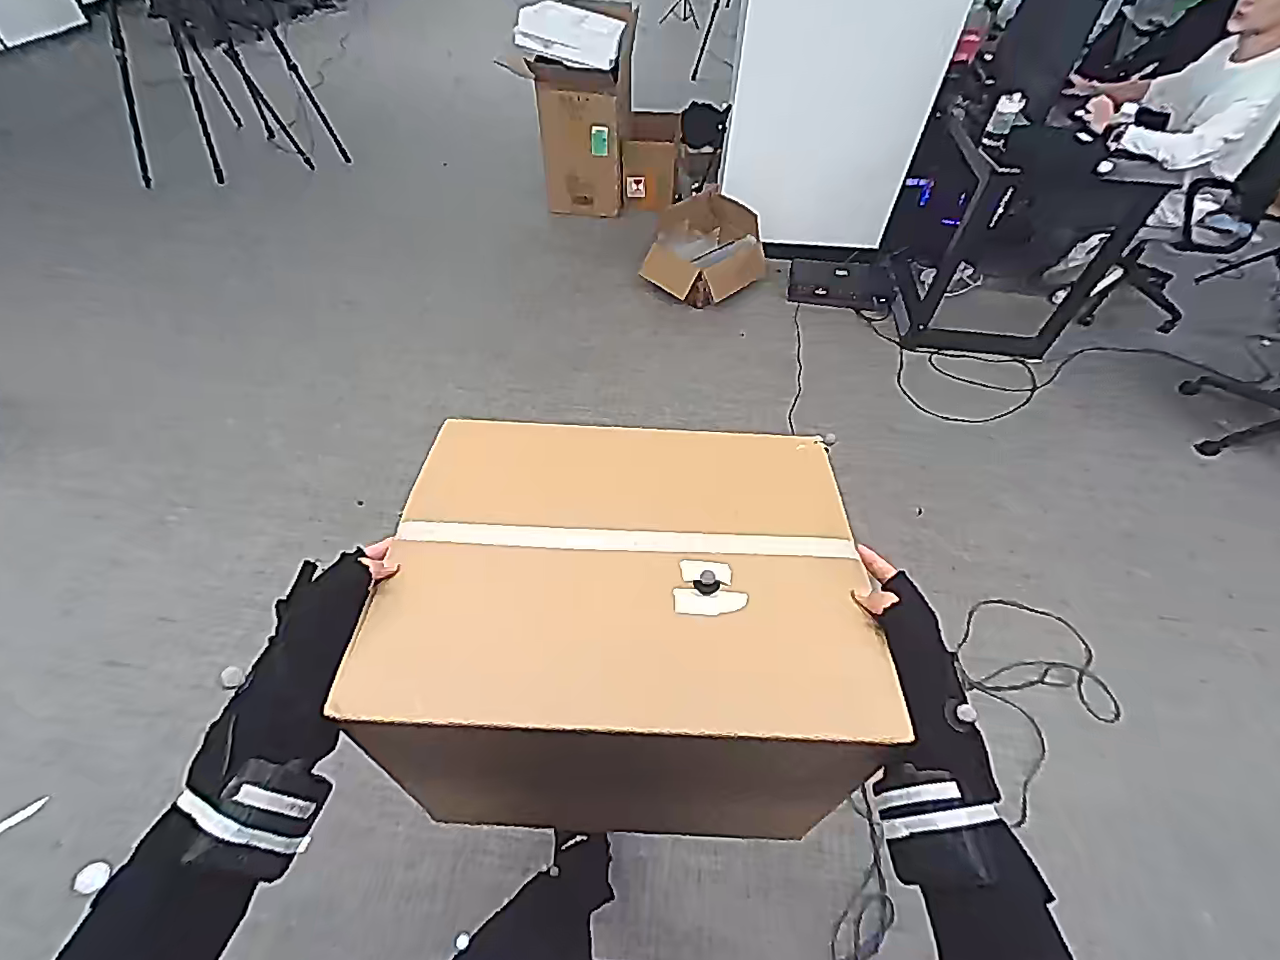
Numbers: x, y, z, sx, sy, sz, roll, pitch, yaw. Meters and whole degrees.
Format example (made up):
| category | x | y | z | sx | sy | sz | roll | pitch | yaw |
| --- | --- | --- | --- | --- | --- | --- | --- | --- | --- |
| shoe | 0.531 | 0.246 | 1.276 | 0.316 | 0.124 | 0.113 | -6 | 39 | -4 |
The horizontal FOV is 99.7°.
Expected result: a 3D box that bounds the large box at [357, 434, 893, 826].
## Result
| category | x | y | z | sx | sy | sz | roll | pitch | yaw |
| --- | --- | --- | --- | --- | --- | --- | --- | --- | --- |
| large box | -0.014 | 0.168 | 0.602 | 0.408 | 0.320 | 0.320 | 3 | 46 | 0 |
